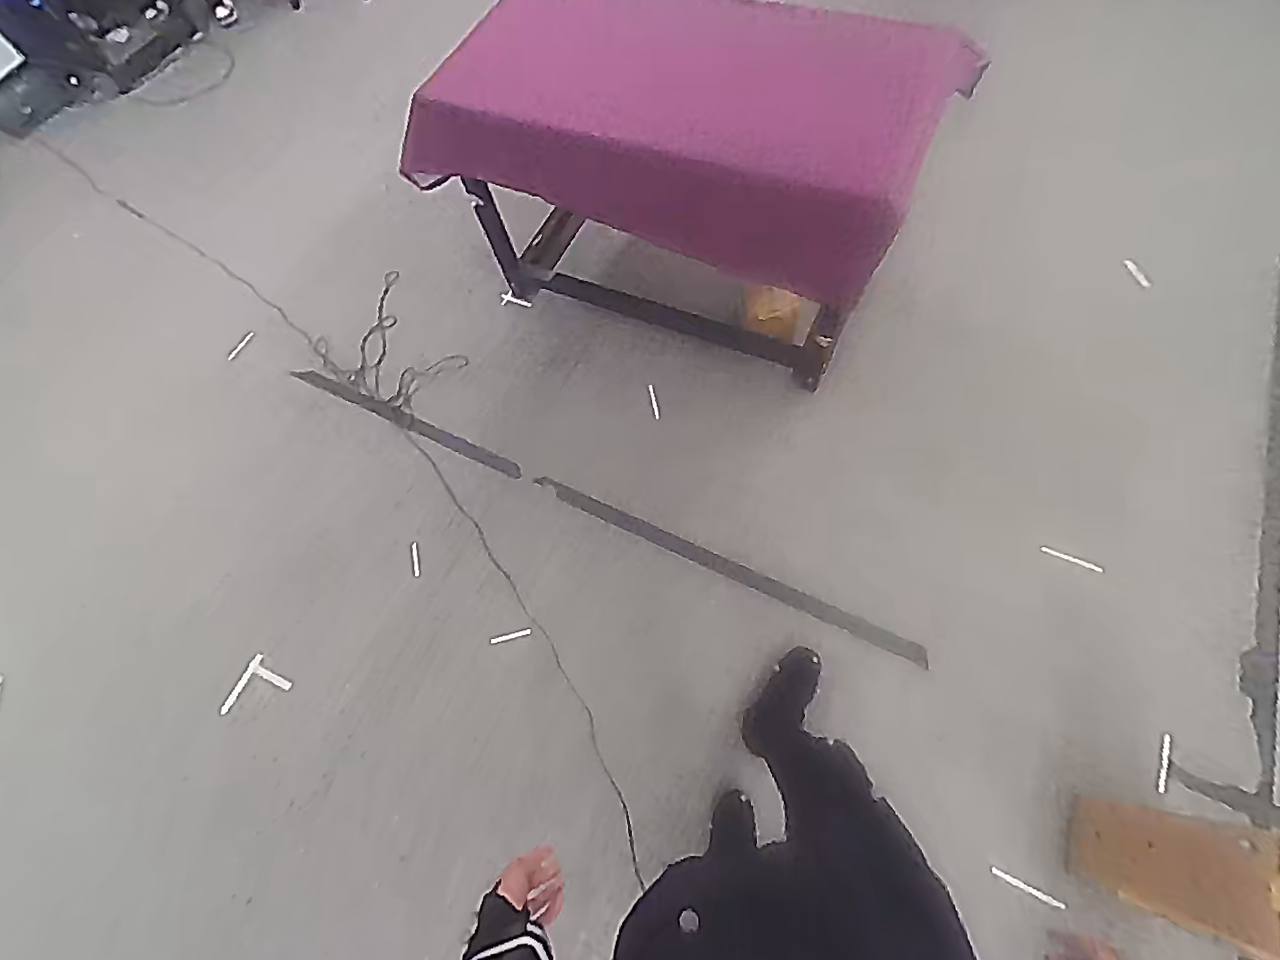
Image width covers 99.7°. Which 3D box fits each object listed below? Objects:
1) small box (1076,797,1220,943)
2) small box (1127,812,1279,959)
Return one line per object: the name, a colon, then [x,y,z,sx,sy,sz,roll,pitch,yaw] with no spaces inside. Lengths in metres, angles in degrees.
small box: [1.054,0.796,1.126,0.168,0.176,0.179,20,70,15]
small box: [1.047,0.733,0.976,0.179,0.176,0.168,24,72,17]
